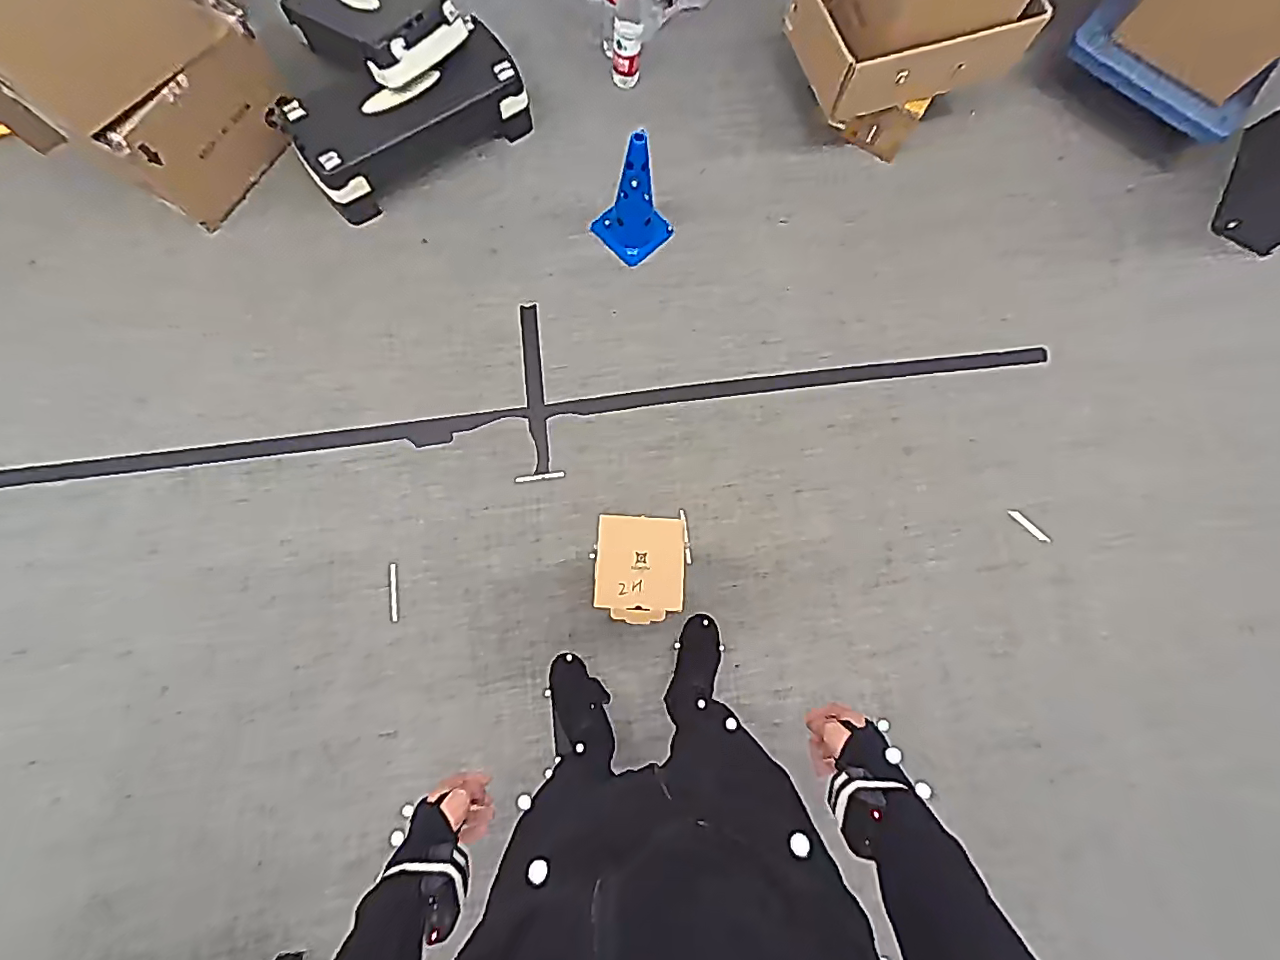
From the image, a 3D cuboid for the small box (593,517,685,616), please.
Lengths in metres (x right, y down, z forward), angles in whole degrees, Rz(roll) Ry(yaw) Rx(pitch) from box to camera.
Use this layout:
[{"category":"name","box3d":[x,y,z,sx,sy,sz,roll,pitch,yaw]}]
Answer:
[{"category":"small box","box3d":[-0.006,0.178,1.088,0.168,0.176,0.179,4,78,-3]}]
